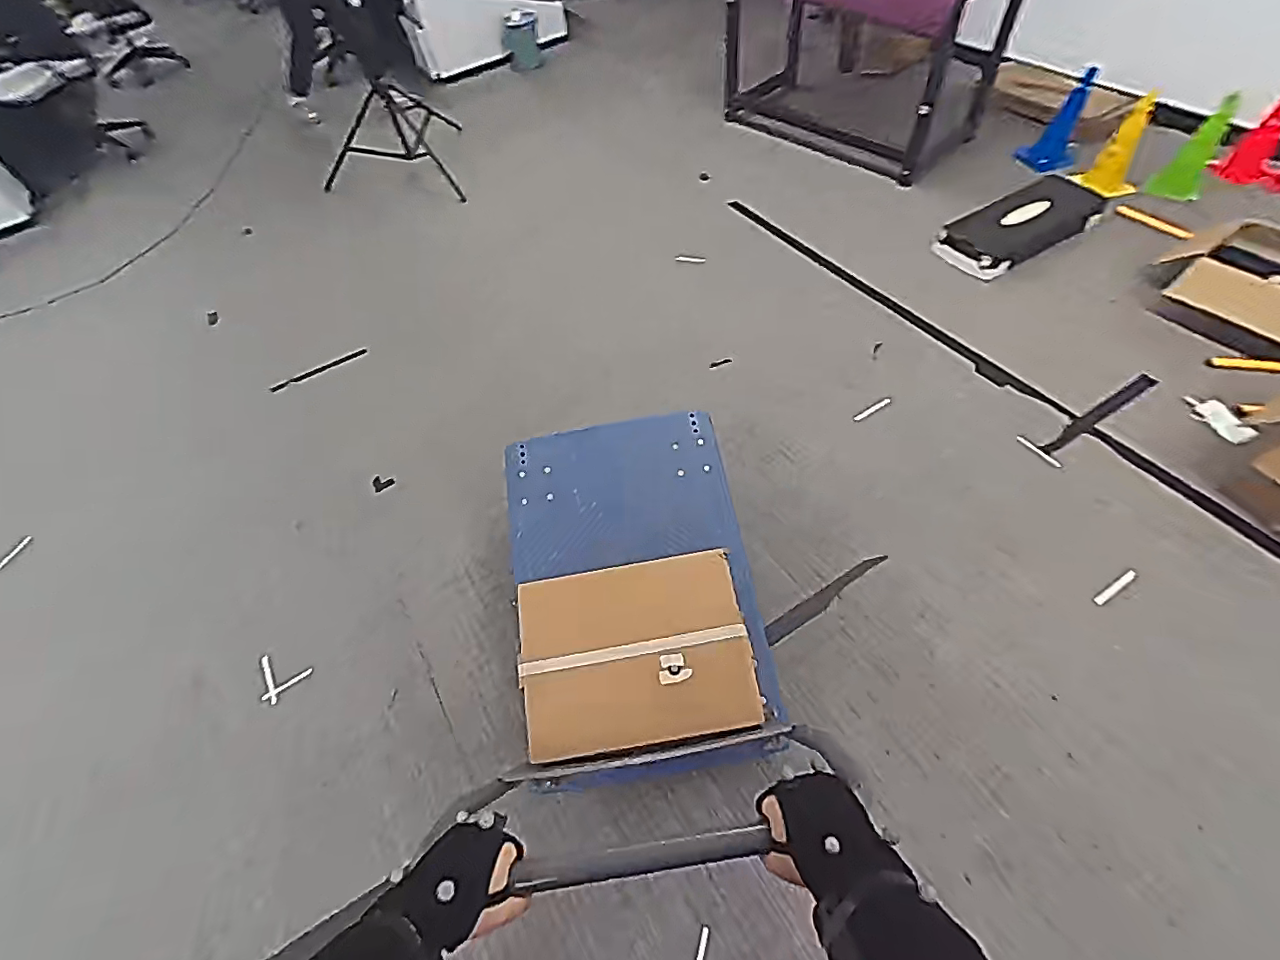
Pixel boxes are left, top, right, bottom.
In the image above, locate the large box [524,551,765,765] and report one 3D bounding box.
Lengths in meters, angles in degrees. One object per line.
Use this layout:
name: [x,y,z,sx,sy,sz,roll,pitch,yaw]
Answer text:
large box: [0.004,0.375,1.121,0.408,0.320,0.320,-10,66,-1]
